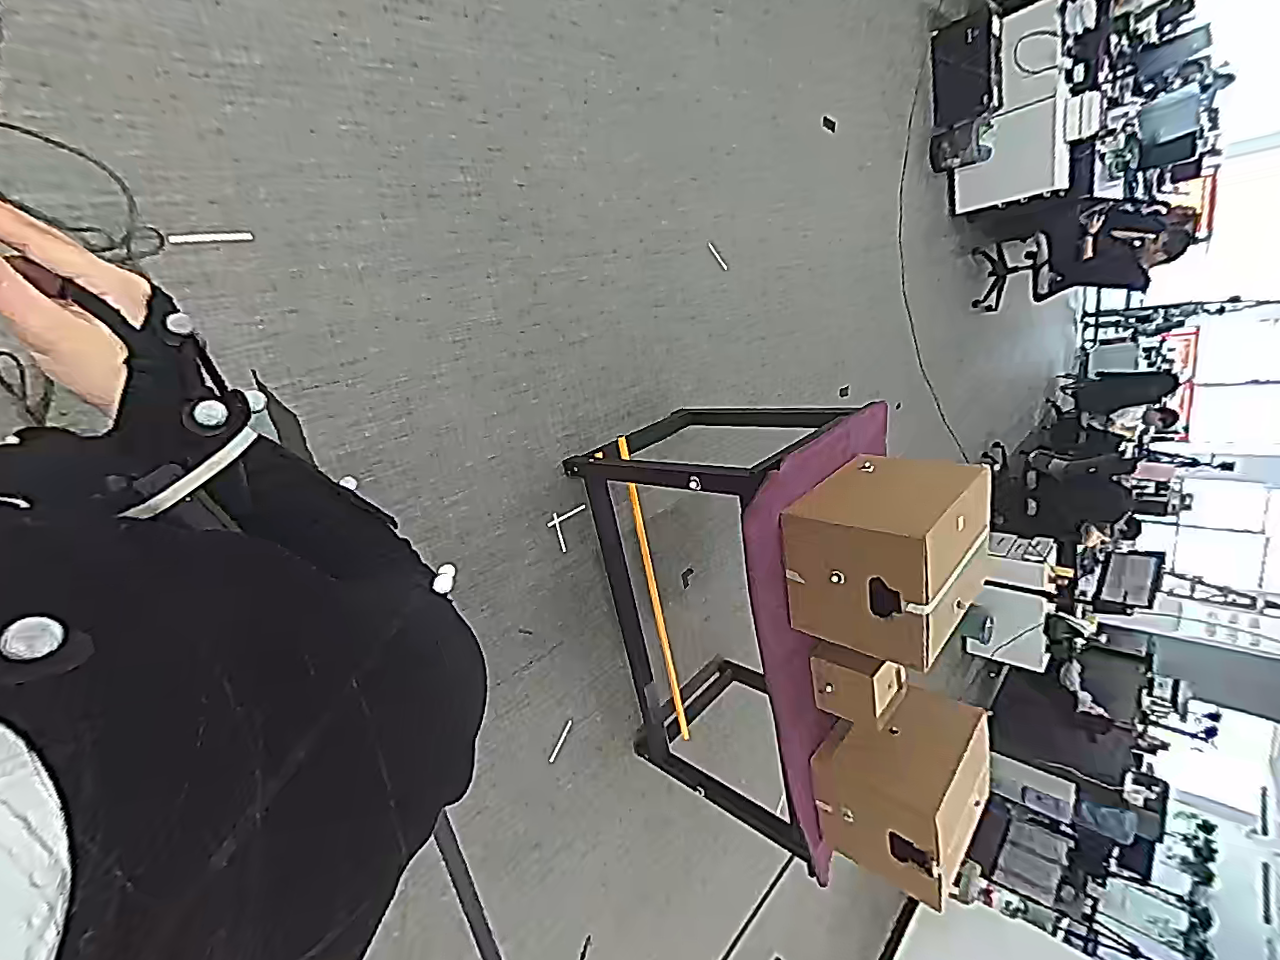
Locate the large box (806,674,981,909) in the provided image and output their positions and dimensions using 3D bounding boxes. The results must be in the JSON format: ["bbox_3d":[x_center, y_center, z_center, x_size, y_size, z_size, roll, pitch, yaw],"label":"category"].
[{"bbox_3d":[0.701,0.815,1.483,0.408,0.320,0.320,-27,114,-40],"label":"large box"}]
